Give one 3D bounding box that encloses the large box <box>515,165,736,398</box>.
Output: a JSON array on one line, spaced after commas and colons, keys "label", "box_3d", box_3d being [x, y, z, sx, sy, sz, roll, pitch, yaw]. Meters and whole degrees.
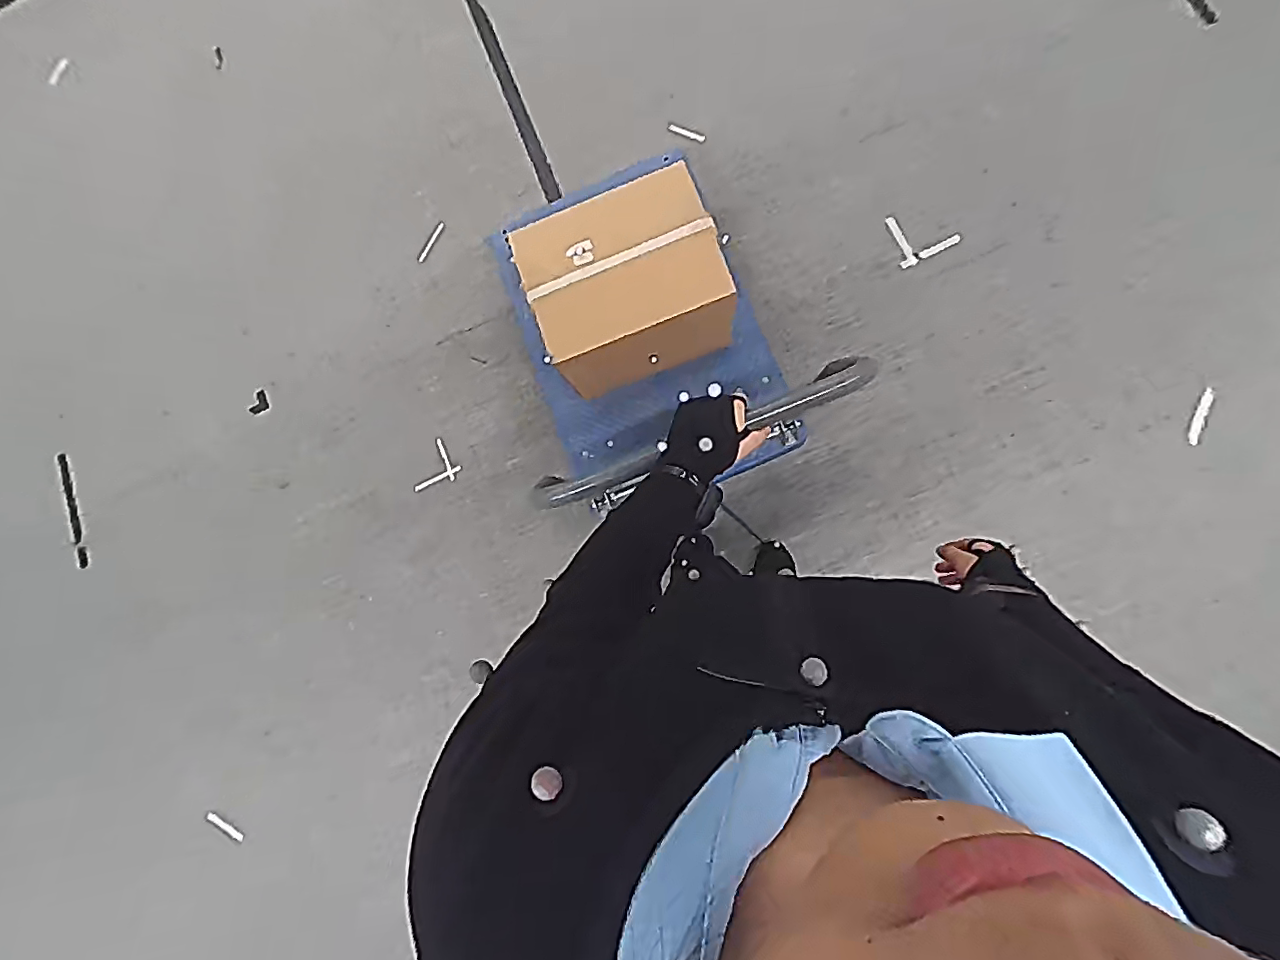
[{"label": "large box", "box_3d": [-0.017, -0.436, 1.276, 0.408, 0.320, 0.320, -21, 81, 6]}]
